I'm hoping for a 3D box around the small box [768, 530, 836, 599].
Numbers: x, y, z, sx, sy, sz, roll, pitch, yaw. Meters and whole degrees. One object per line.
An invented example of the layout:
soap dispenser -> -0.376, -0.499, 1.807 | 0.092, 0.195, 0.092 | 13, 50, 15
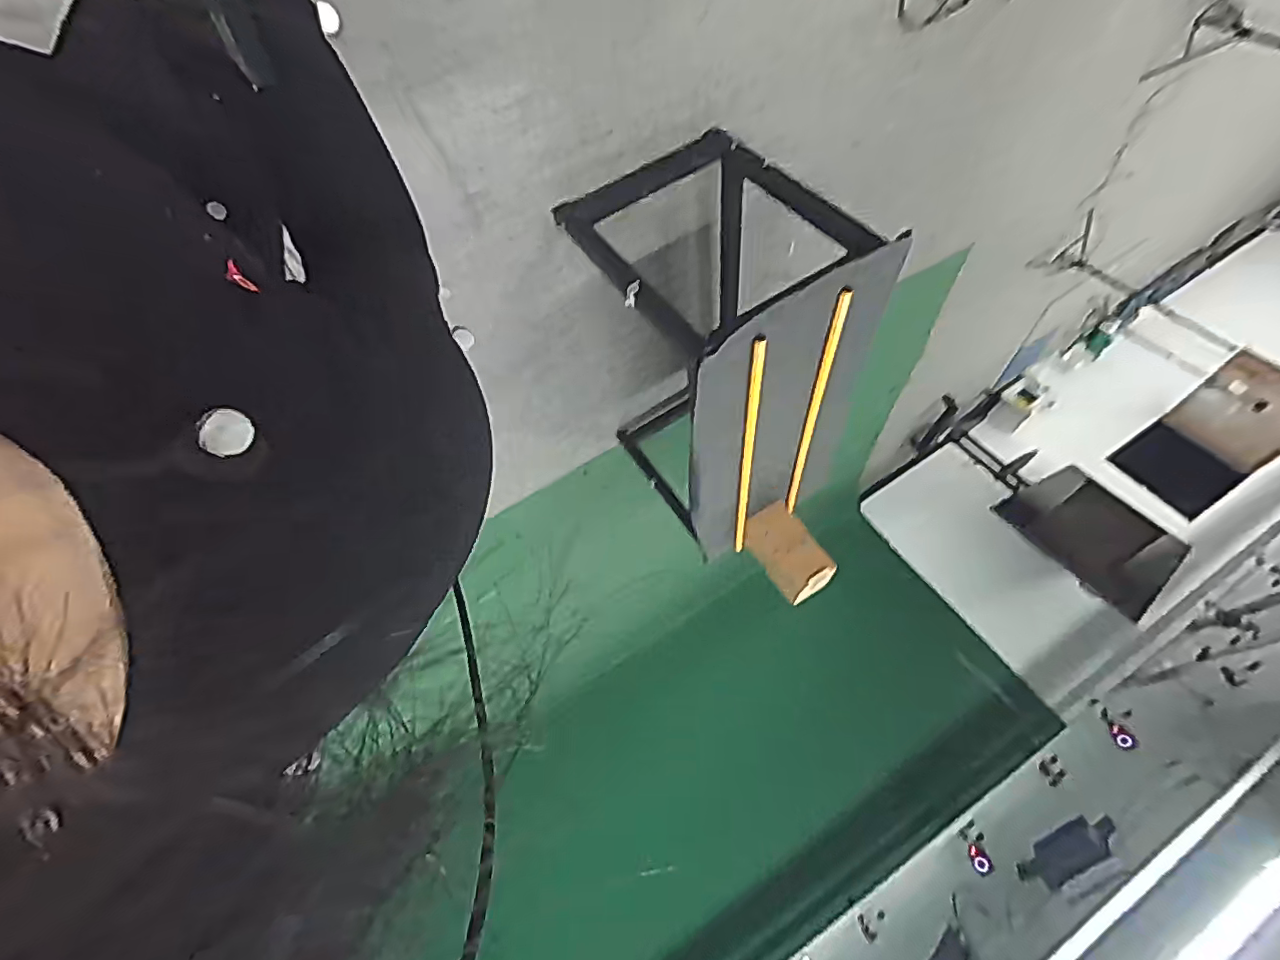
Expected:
small box -> 0.606, 0.312, 2.044 | 0.168, 0.176, 0.179 | -28, 151, -14
